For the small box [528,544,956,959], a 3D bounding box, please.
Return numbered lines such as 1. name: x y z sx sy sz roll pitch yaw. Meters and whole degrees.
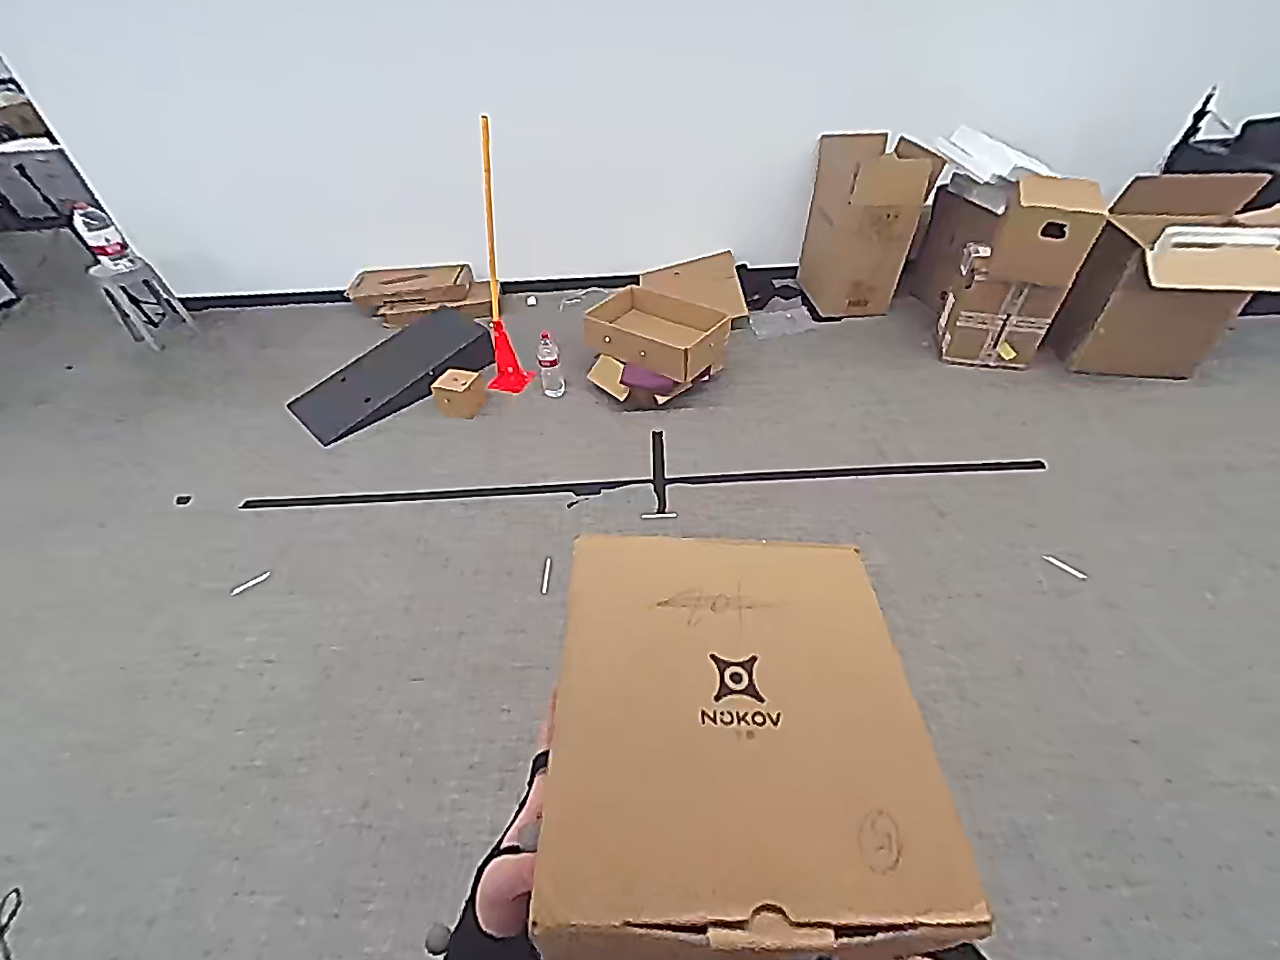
1. small box: 0.034 0.160 0.314 0.168 0.176 0.179 4 43 -4
